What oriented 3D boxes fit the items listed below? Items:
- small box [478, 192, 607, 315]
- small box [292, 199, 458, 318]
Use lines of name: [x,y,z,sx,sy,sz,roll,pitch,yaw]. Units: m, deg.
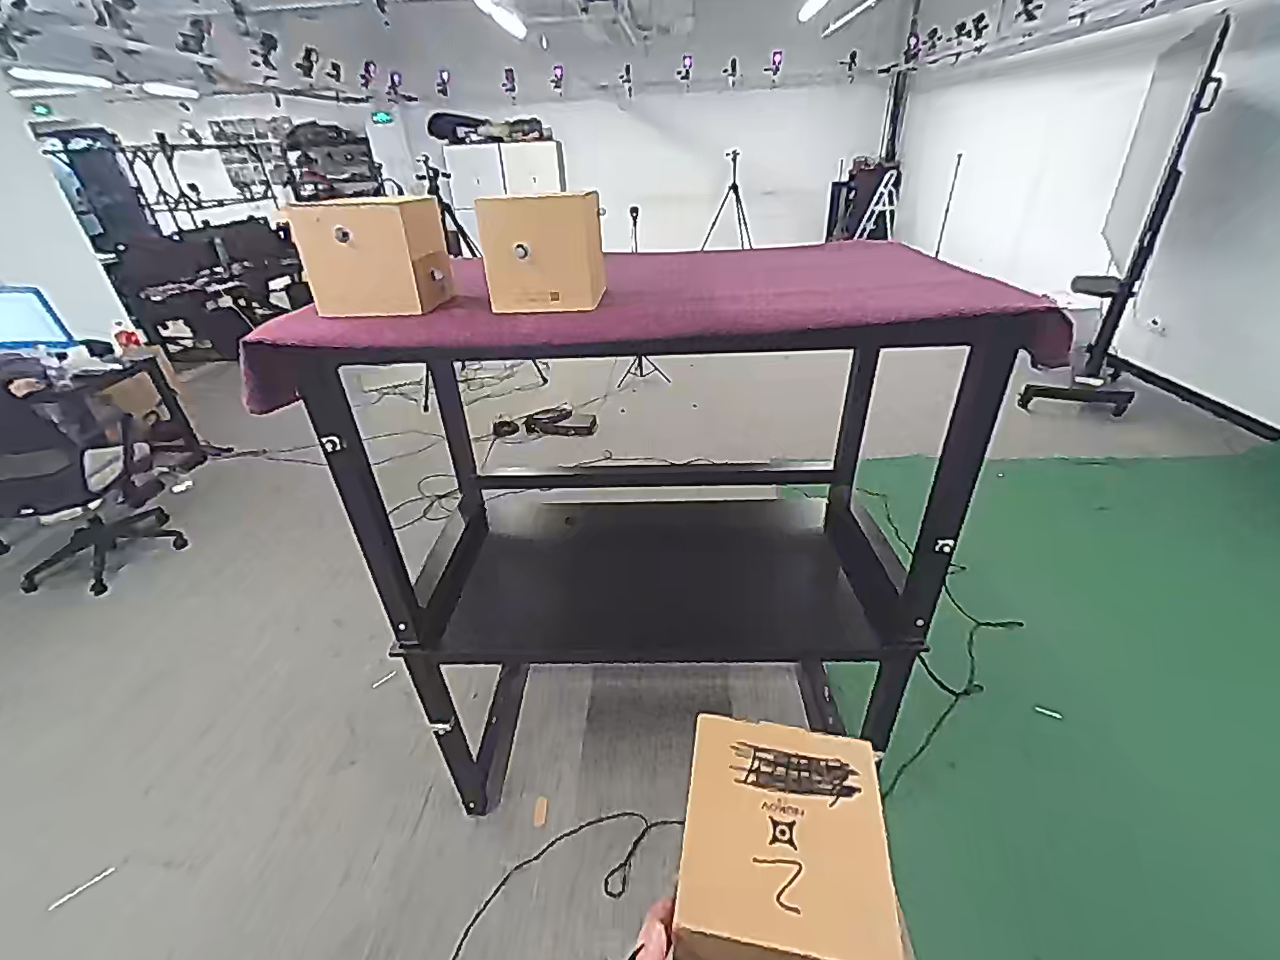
small box: [-0.147,-0.373,0.892,0.168,0.176,0.179,-1,29,4]
small box: [-0.429,-0.374,0.911,0.179,0.176,0.168,0,30,3]
